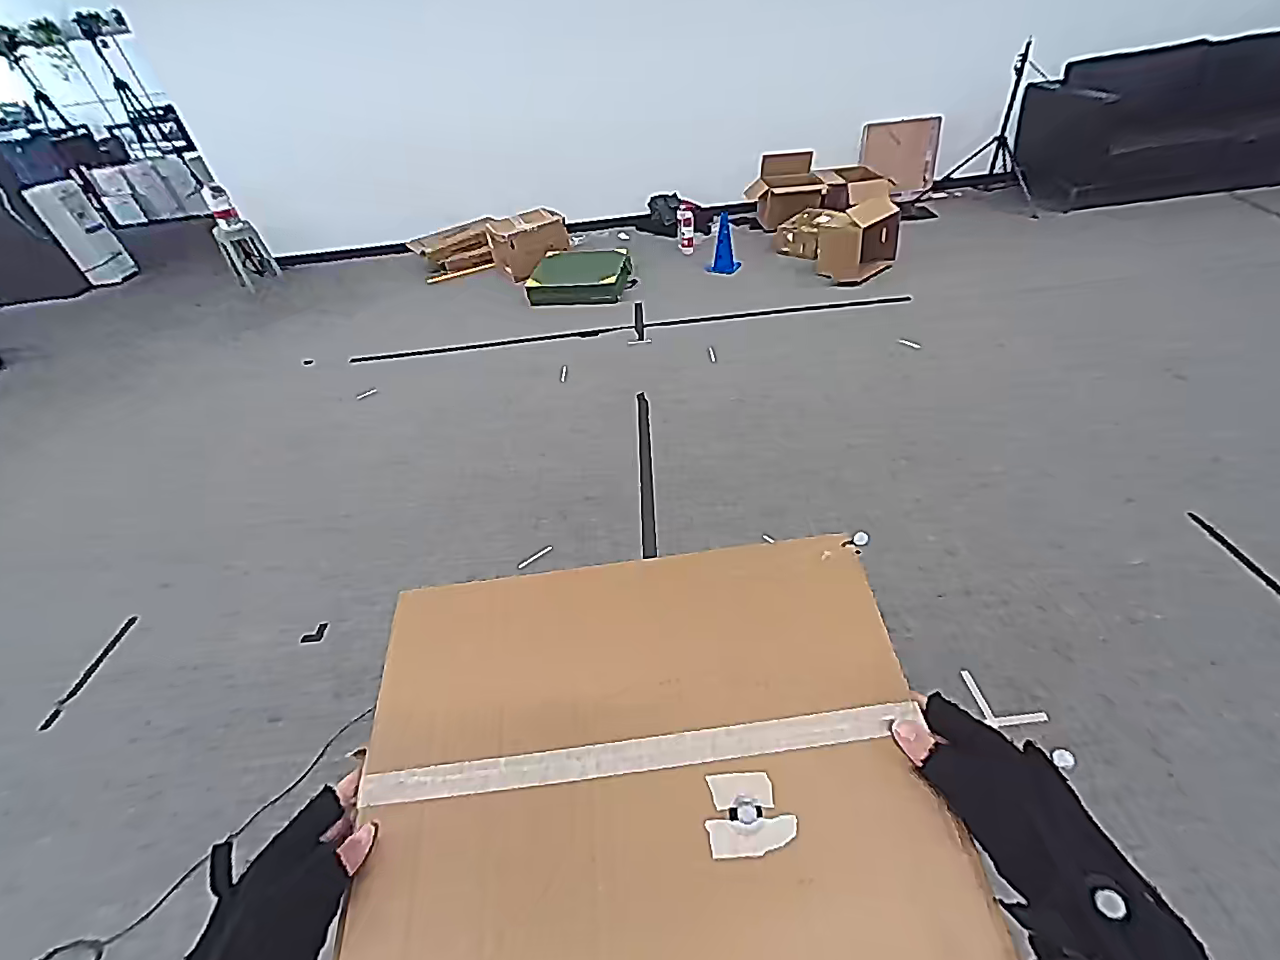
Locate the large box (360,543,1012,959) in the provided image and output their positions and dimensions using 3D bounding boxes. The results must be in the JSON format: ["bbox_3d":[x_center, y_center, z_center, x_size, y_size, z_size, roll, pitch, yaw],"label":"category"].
[{"bbox_3d":[0.018,0.295,0.517,0.408,0.320,0.320,-8,53,0],"label":"large box"}]
